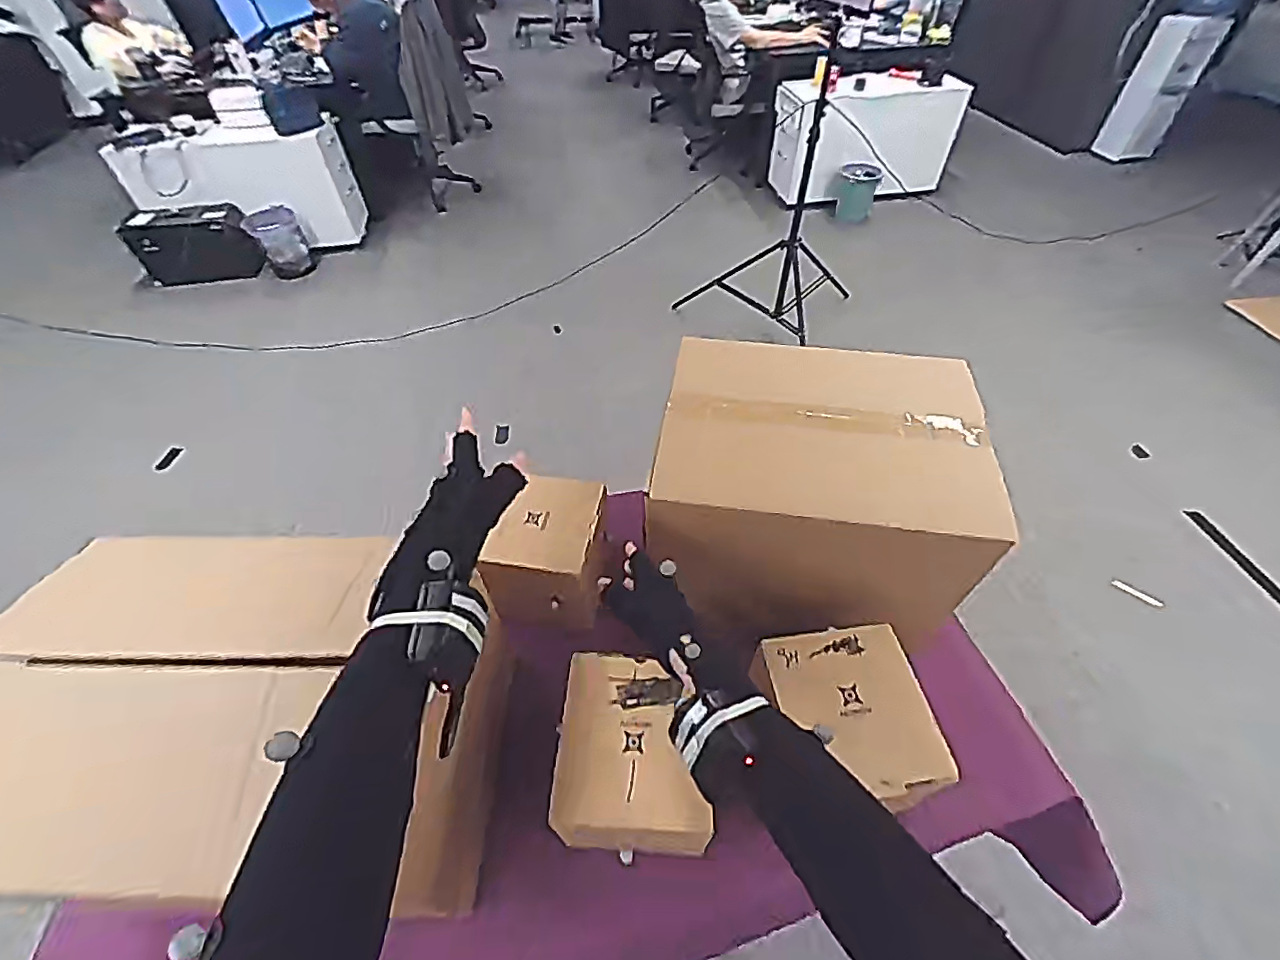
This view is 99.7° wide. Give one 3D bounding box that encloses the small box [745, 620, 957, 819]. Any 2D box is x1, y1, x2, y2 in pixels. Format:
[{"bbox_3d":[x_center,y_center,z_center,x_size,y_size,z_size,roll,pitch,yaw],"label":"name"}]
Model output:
[{"bbox_3d":[0.235,0.295,0.657,0.168,0.176,0.179,-6,49,-5],"label":"small box"}]
